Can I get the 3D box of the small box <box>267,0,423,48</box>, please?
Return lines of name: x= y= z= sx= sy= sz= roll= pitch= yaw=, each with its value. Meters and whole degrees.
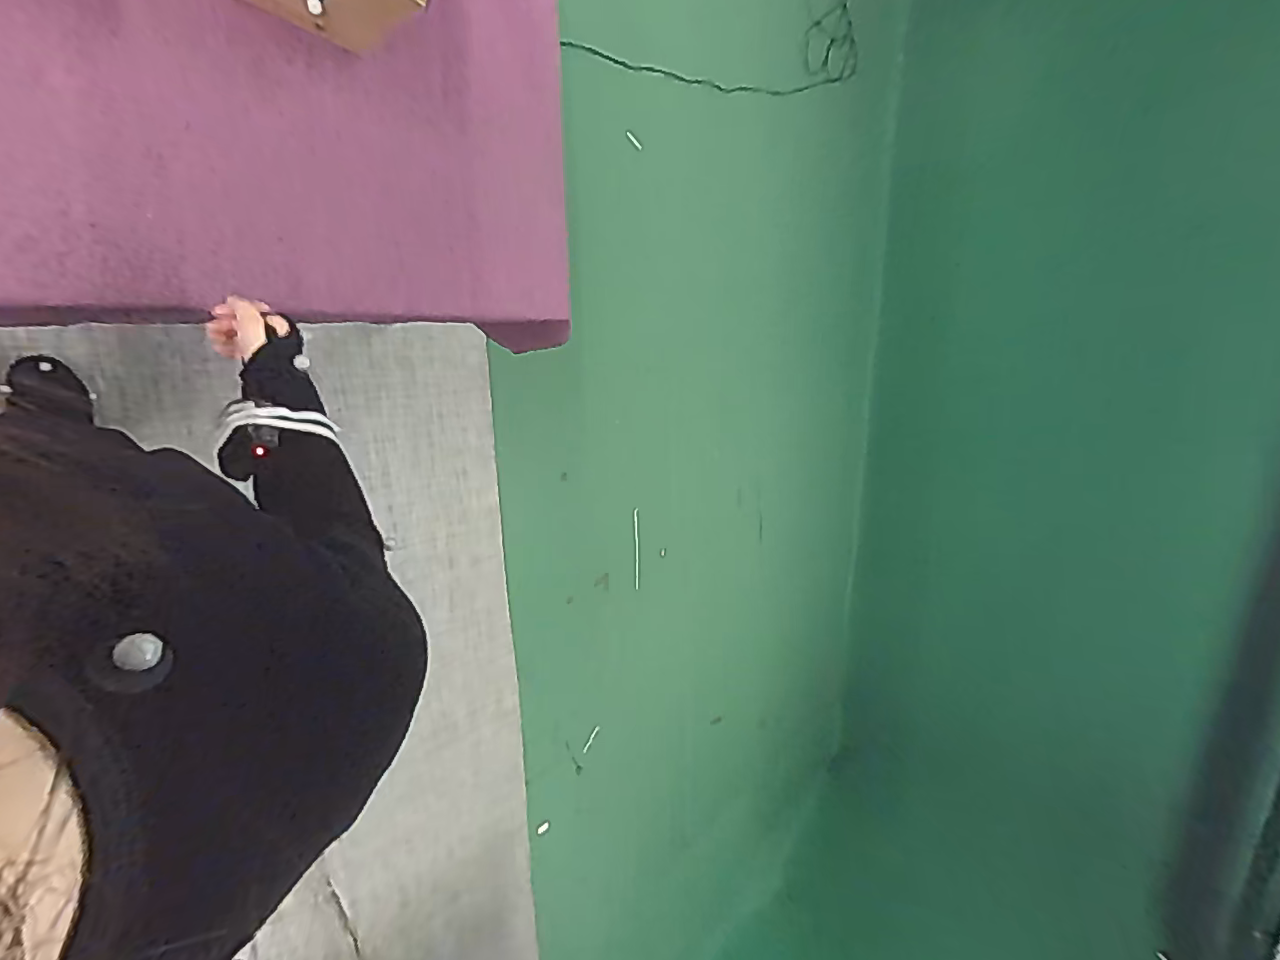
small box: x=-0.336 y=-0.603 z=0.561 sx=0.168 sy=0.176 sz=0.179 roll=-6 pitch=104 yaw=-47
